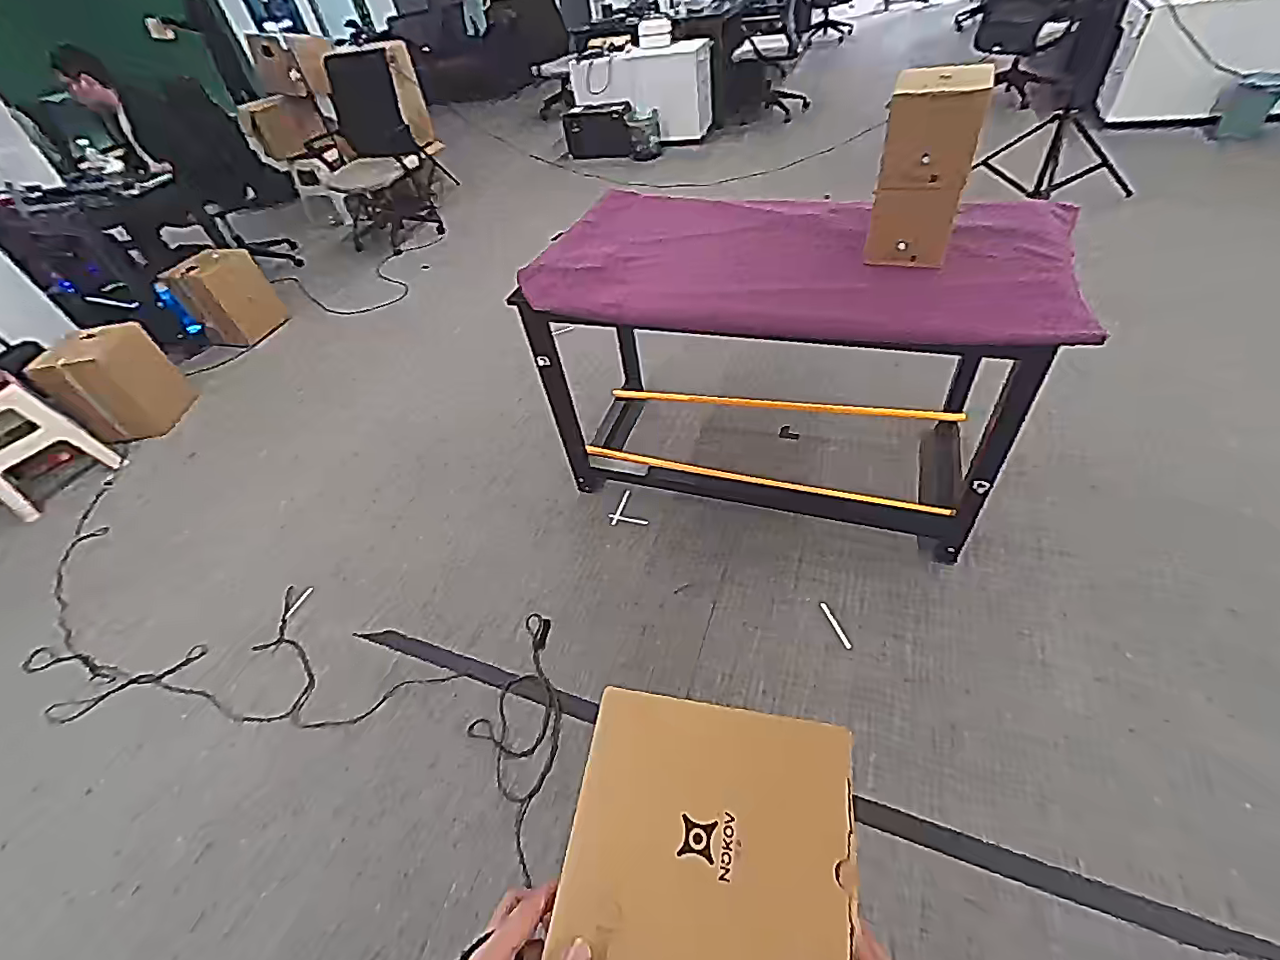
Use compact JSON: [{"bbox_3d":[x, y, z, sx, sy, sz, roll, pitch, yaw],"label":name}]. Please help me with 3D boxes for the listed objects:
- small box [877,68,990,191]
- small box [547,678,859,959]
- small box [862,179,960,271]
[{"bbox_3d":[0.586,-0.704,1.090,0.168,0.176,0.179,12,51,22],"label":"small box"},{"bbox_3d":[0.059,0.266,0.399,0.179,0.176,0.168,4,54,15],"label":"small box"},{"bbox_3d":[0.606,-0.593,1.211,0.168,0.176,0.179,13,51,22],"label":"small box"}]
